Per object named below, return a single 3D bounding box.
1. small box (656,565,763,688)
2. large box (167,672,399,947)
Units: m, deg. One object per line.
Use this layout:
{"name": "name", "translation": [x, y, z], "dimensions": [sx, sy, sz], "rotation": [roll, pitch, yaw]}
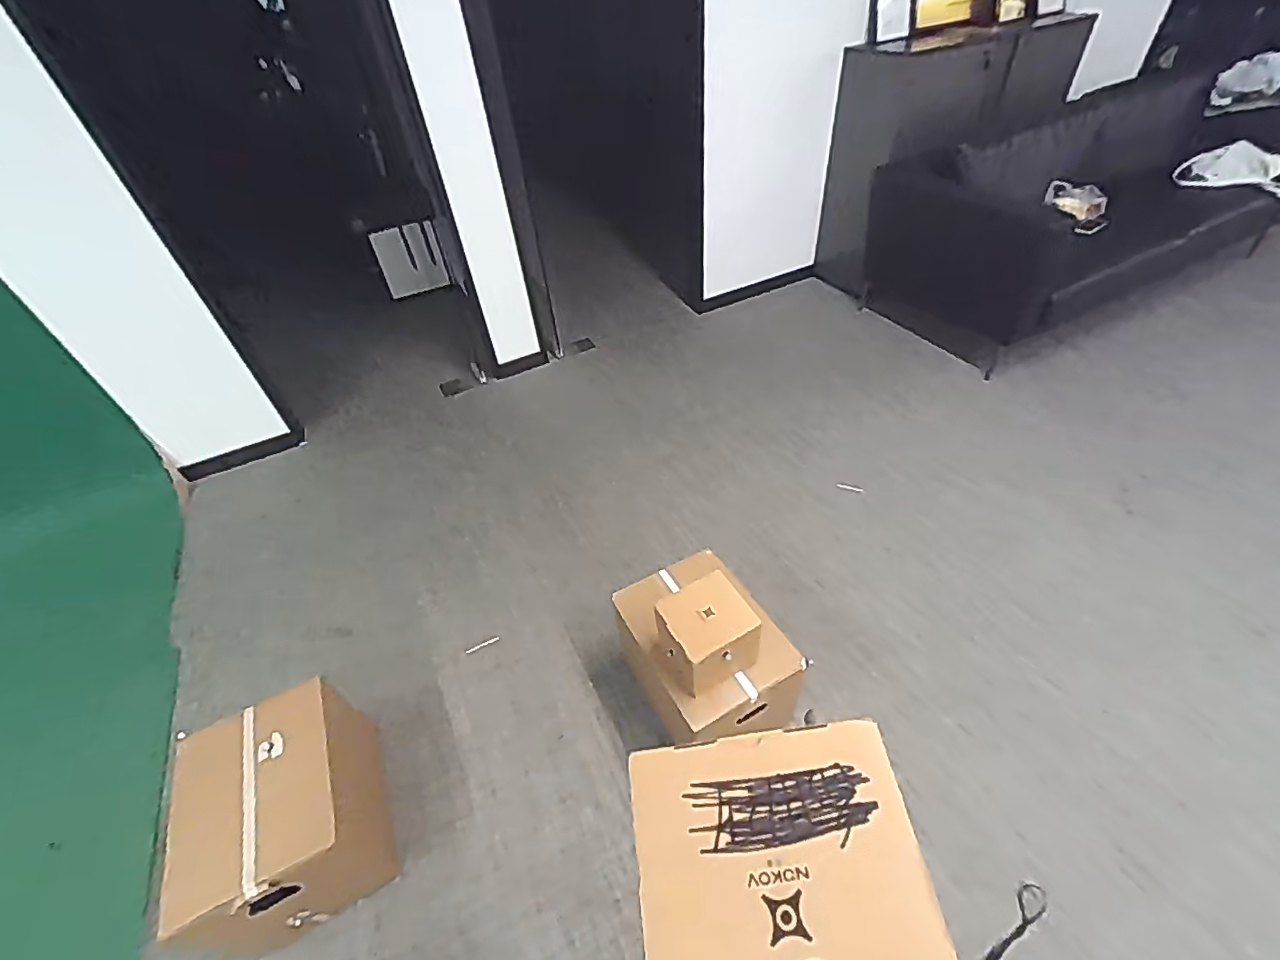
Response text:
{"name": "small box", "translation": [0.153, 0.331, 1.218], "dimensions": [0.179, 0.176, 0.168], "rotation": [-26, 48, -15]}
{"name": "large box", "translation": [-0.801, 0.746, 1.249], "dimensions": [0.320, 0.320, 0.408], "rotation": [-24, 46, -16]}
